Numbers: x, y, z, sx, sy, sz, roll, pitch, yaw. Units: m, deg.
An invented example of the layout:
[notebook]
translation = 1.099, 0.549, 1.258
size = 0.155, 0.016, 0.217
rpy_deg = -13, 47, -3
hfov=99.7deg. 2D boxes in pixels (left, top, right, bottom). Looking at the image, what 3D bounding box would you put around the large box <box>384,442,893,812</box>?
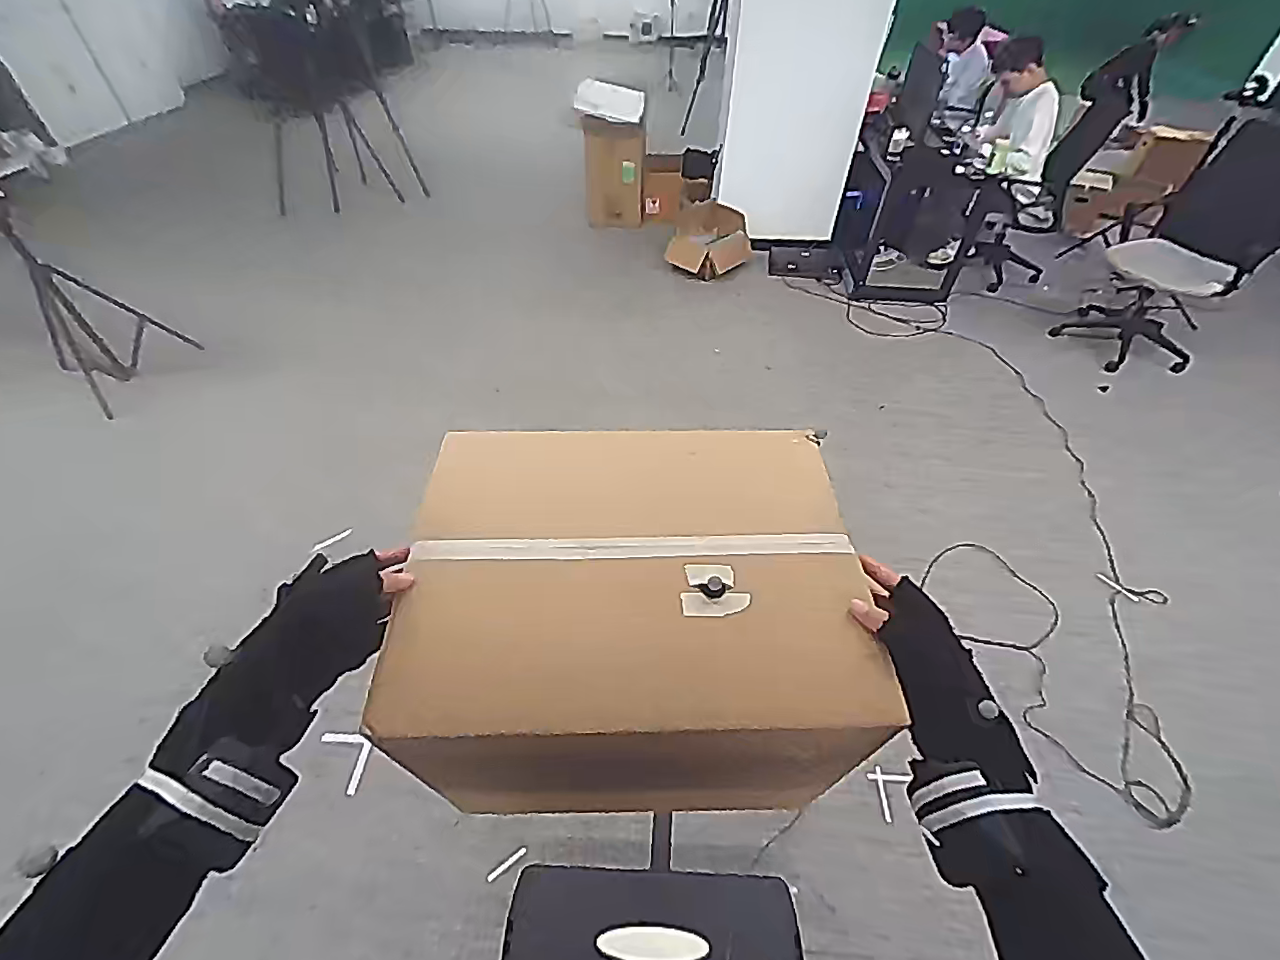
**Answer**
[large box]
translation = -0.007, 0.170, 0.622
size = 0.408, 0.320, 0.320
rpy_deg = 0, 49, -2
